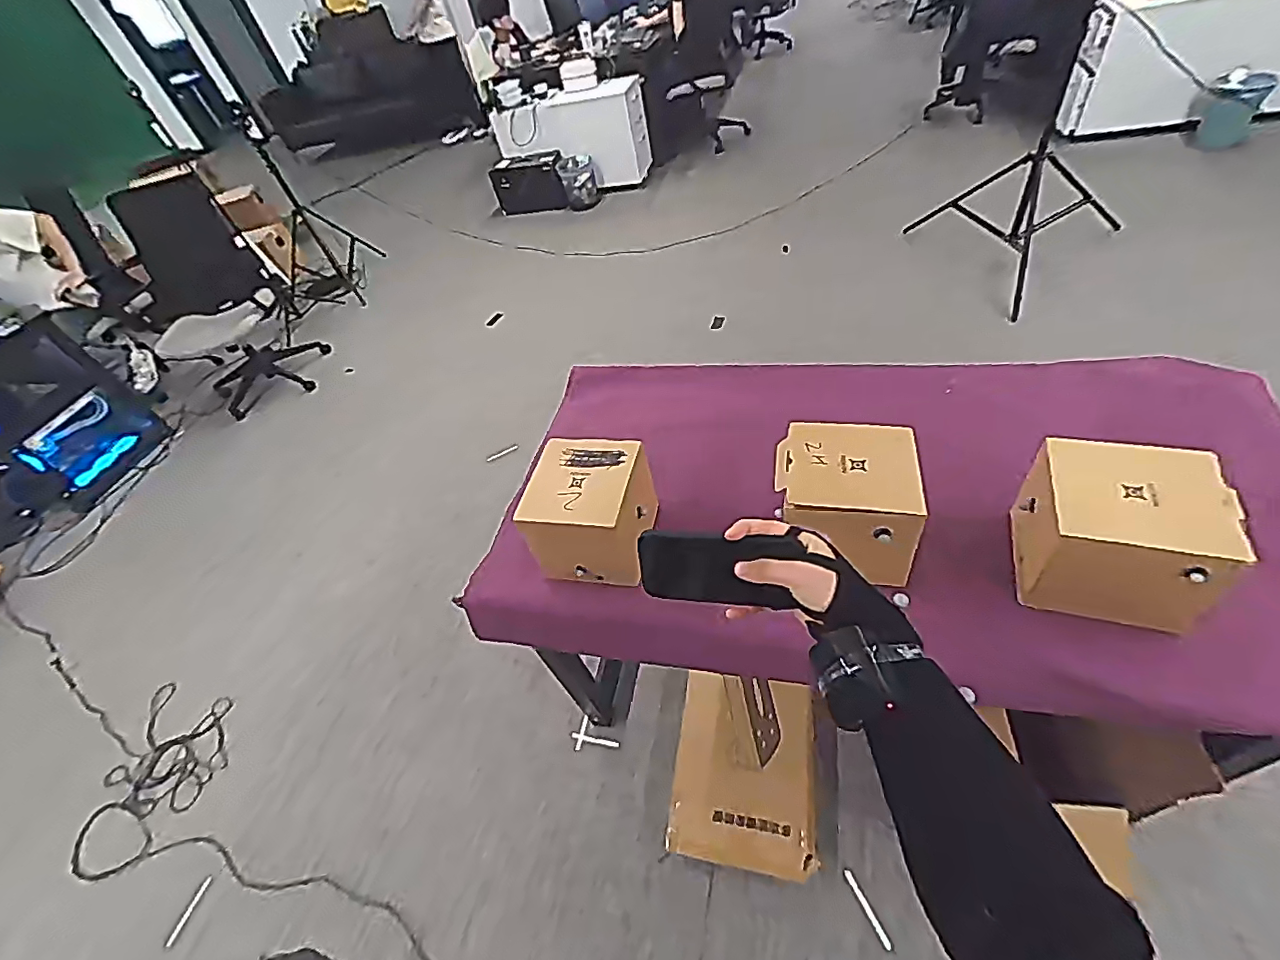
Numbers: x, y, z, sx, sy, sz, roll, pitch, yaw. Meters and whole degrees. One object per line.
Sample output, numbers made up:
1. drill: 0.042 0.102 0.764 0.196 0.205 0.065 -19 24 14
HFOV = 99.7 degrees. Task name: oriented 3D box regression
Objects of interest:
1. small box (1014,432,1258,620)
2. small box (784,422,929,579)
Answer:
1. small box: 0.608 0.060 0.699 0.179 0.176 0.168 8 51 21
2. small box: 0.308 0.032 0.802 0.179 0.176 0.168 2 47 16
